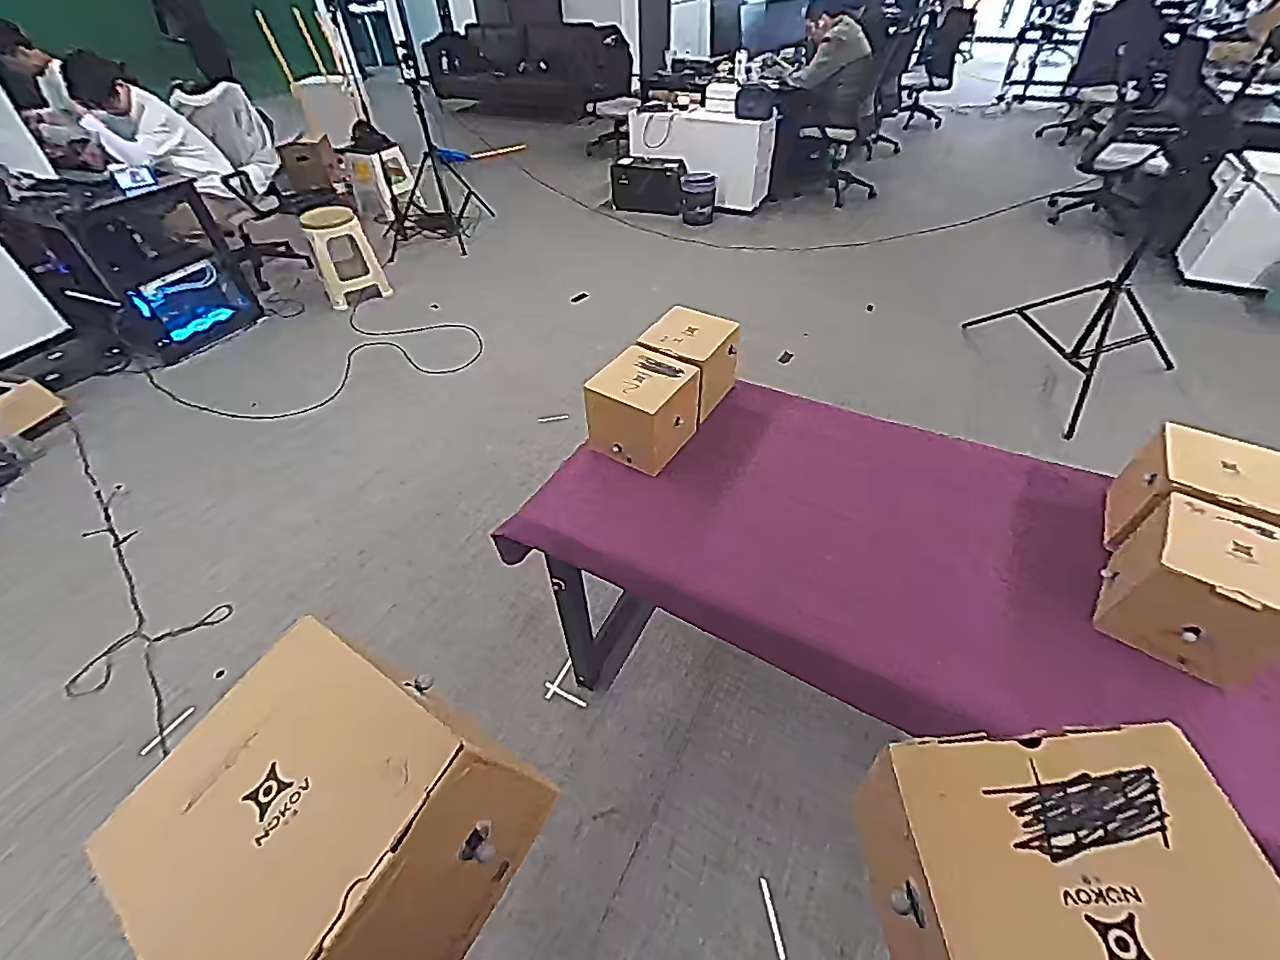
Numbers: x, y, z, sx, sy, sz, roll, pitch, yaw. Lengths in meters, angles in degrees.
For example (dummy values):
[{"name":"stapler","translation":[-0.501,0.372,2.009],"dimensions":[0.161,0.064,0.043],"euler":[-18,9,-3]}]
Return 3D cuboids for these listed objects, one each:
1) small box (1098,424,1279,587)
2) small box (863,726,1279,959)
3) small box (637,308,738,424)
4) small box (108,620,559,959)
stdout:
[{"name":"small box","translation":[0.910,0.041,0.904],"dimensions":[0.168,0.176,0.179],"euler":[24,50,23]},{"name":"small box","translation":[0.251,0.271,0.331],"dimensions":[0.168,0.176,0.179],"euler":[-8,50,6]},{"name":"small box","translation":[0.104,-0.259,1.228],"dimensions":[0.168,0.176,0.179],"euler":[24,51,23]},{"name":"small box","translation":[-0.184,0.232,0.373],"dimensions":[0.179,0.176,0.168],"euler":[20,59,29]}]
